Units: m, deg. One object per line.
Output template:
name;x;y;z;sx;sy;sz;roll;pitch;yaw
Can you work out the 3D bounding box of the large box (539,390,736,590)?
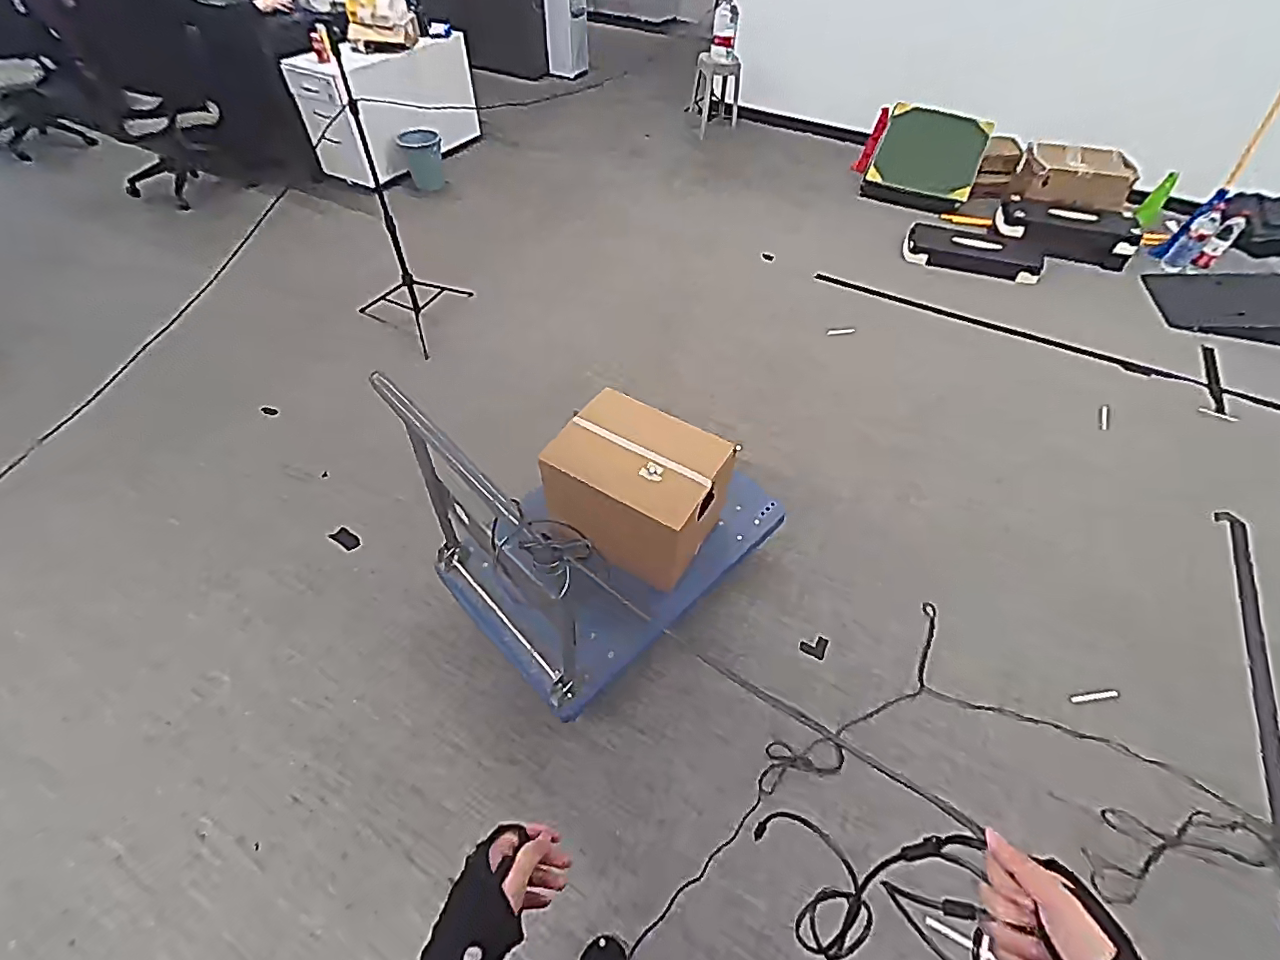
large box;-0.011;0.025;1.454;0.408;0.320;0.320;27;56;17
